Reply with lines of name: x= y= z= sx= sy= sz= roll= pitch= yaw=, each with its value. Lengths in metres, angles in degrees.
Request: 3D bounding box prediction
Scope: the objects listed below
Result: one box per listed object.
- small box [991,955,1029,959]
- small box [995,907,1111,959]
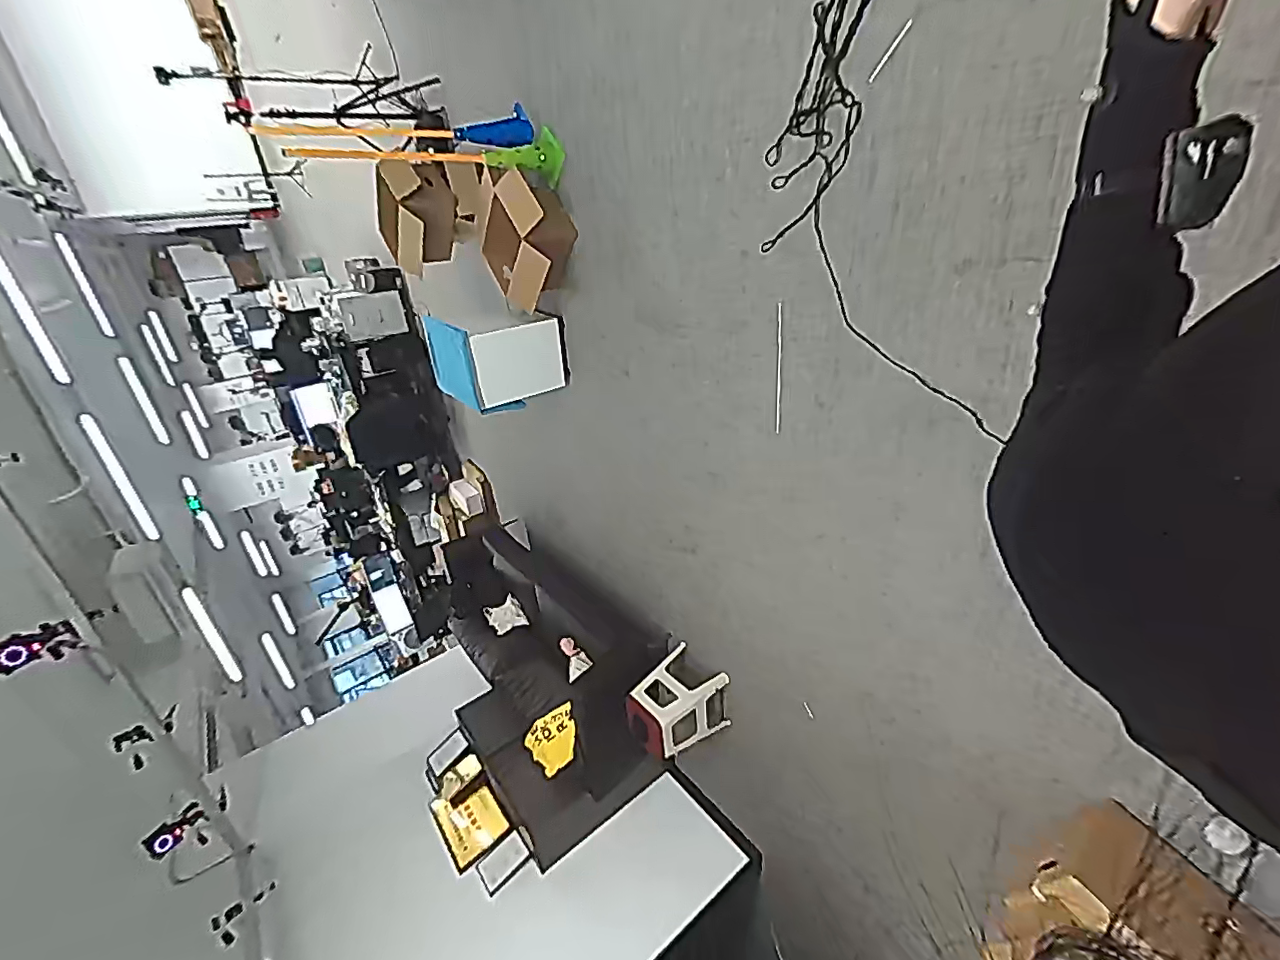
small box: x=0.927 y=1.294 z=1.300 sx=0.179 sy=0.176 sz=0.168 roll=44 pitch=143 yaw=32
small box: x=1.061 y=1.243 z=1.377 sx=0.168 sy=0.176 sz=0.179 roll=44 pitch=143 yaw=33
